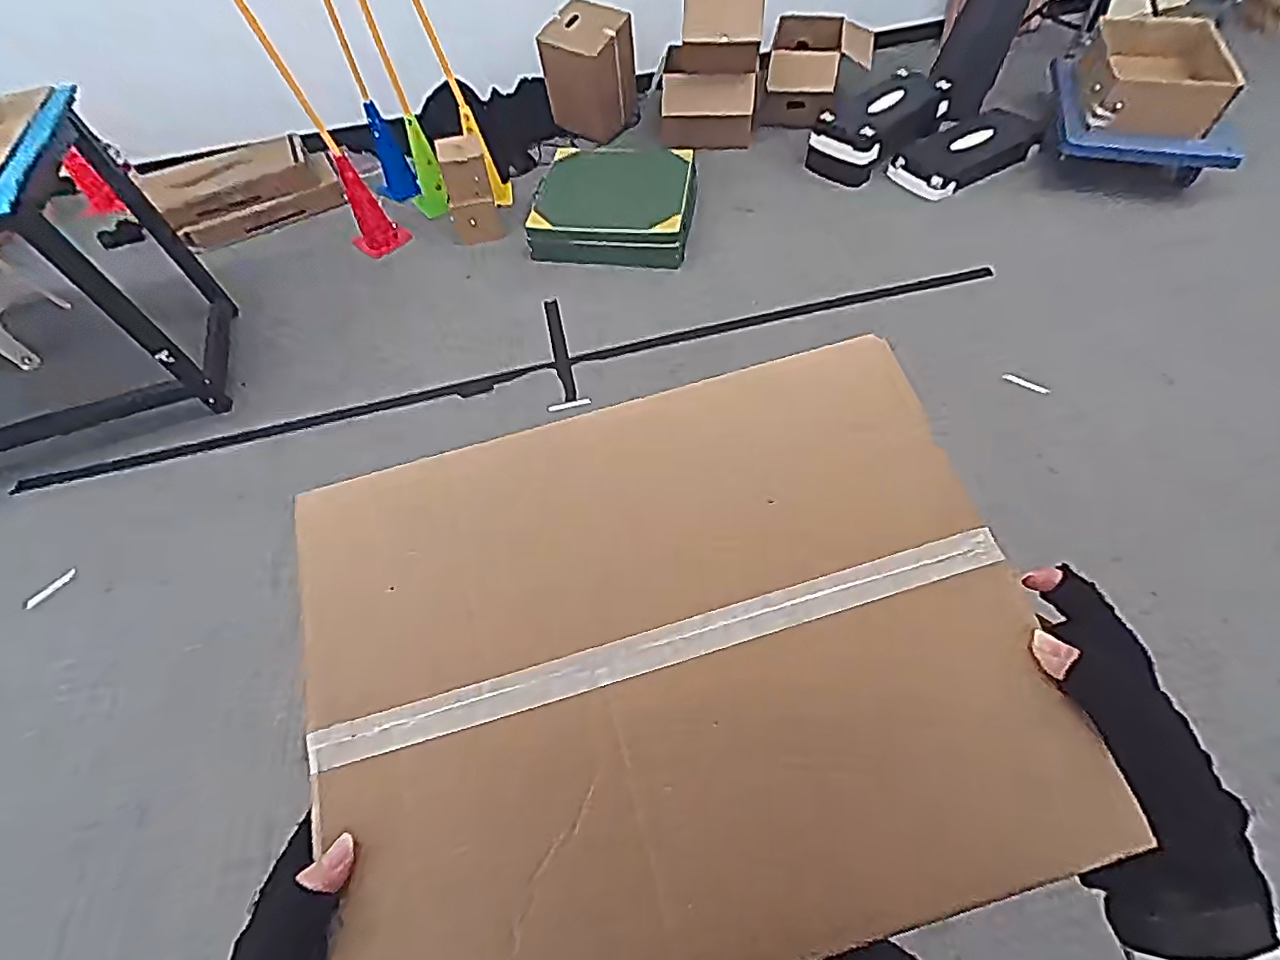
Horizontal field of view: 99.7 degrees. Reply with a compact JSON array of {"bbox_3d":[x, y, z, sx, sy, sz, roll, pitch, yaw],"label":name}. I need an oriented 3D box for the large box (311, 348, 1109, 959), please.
[{"bbox_3d":[0.022,0.149,0.457,0.408,0.320,0.320,-17,69,-2],"label":"large box"}]
